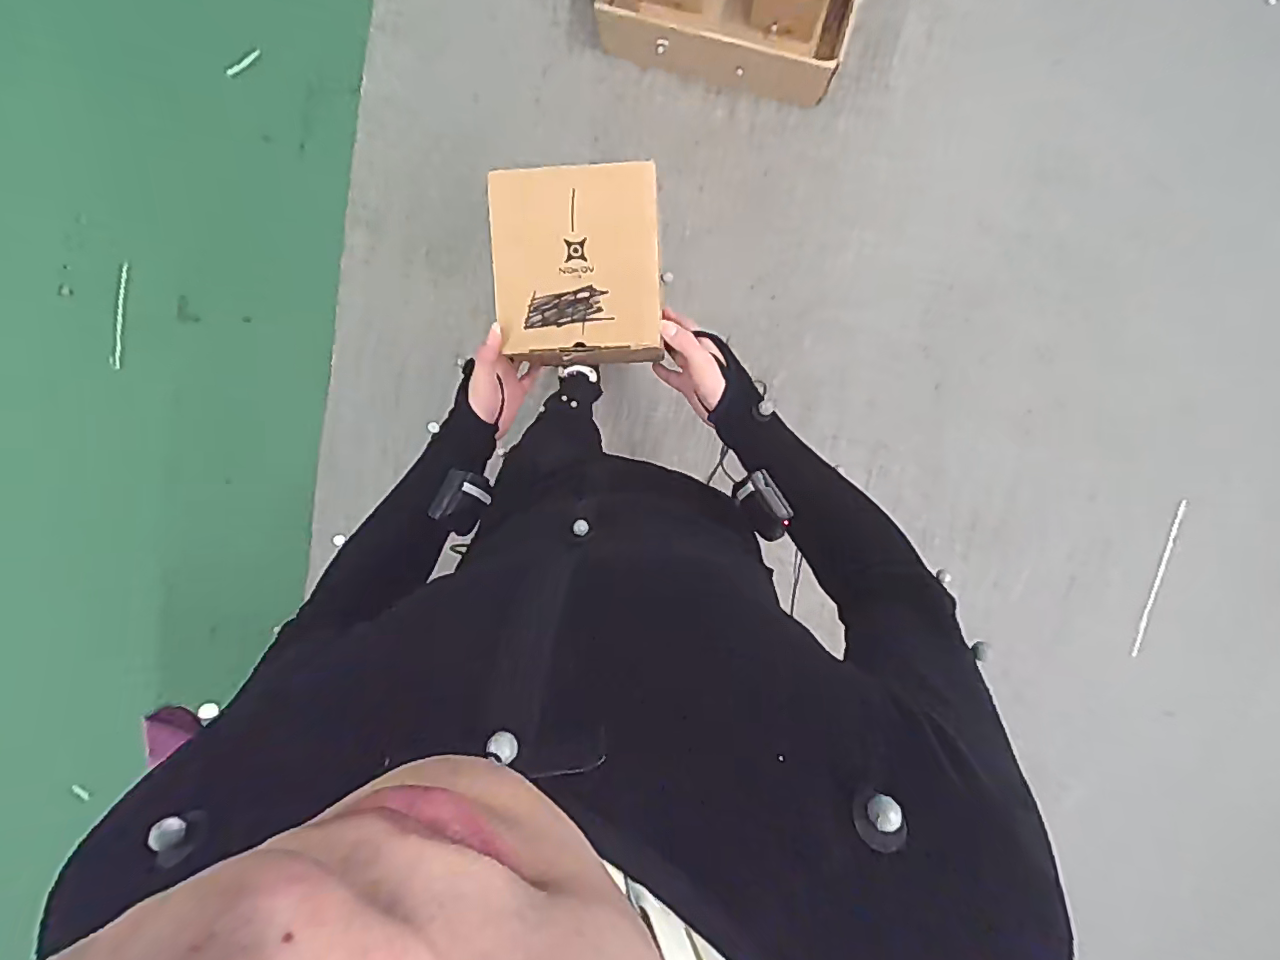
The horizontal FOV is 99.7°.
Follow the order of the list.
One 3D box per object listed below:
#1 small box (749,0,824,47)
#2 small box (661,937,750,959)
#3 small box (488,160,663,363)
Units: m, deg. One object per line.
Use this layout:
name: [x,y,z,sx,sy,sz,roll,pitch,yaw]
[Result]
small box: [0.369,-1.207,1.303,0.168,0.176,0.179,15,98,2]
small box: [0.107,0.930,0.903,0.168,0.176,0.179,9,98,2]
small box: [-0.060,-0.226,0.606,0.168,0.176,0.179,-1,96,3]
